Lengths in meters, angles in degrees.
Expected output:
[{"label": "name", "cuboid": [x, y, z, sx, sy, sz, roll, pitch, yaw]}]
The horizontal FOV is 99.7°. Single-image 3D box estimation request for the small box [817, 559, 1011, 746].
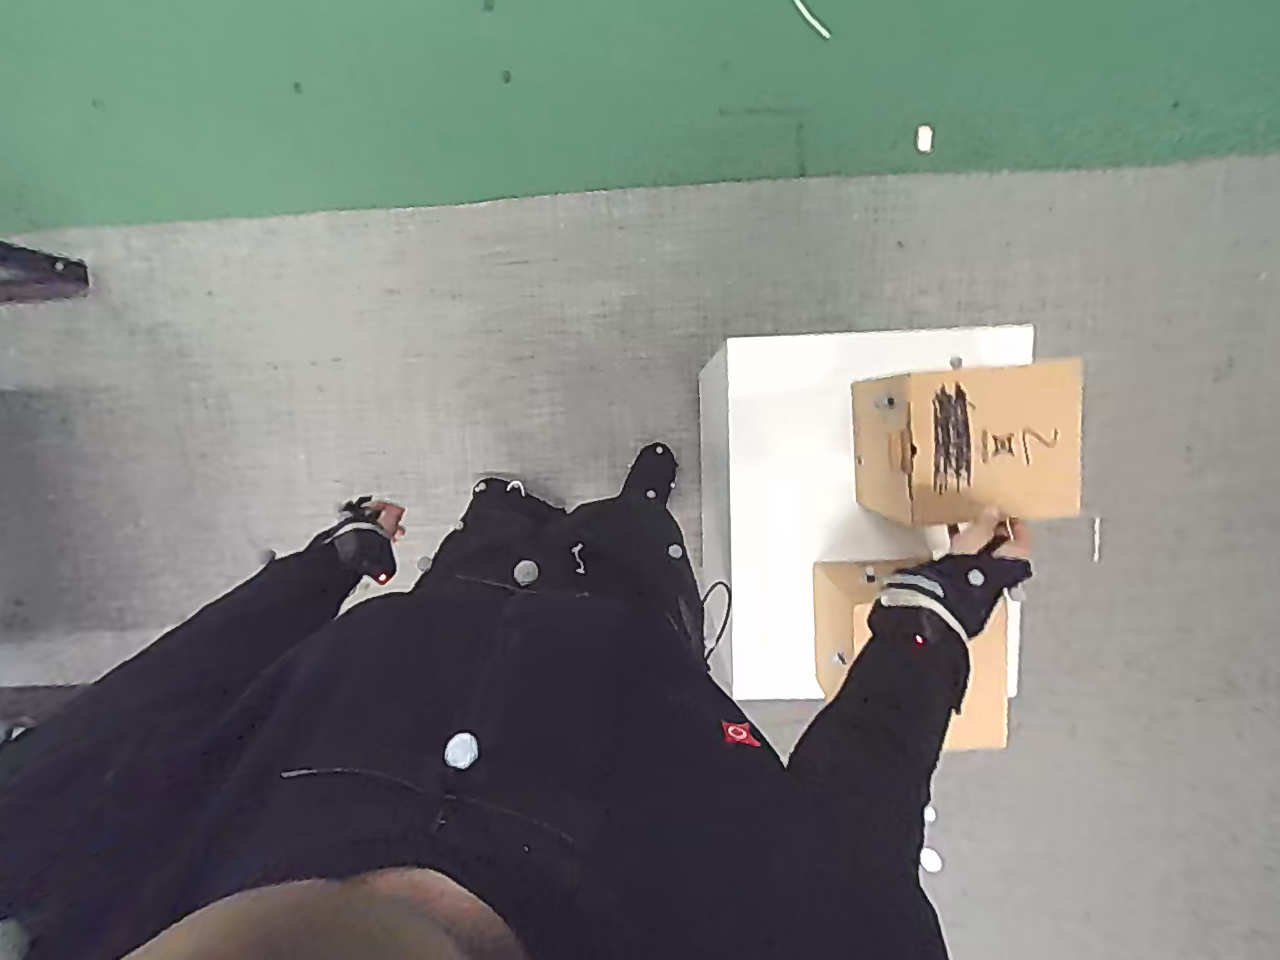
[{"label": "small box", "cuboid": [0.324, 0.200, 0.671, 0.168, 0.176, 0.179, -3, 97, 4]}]
